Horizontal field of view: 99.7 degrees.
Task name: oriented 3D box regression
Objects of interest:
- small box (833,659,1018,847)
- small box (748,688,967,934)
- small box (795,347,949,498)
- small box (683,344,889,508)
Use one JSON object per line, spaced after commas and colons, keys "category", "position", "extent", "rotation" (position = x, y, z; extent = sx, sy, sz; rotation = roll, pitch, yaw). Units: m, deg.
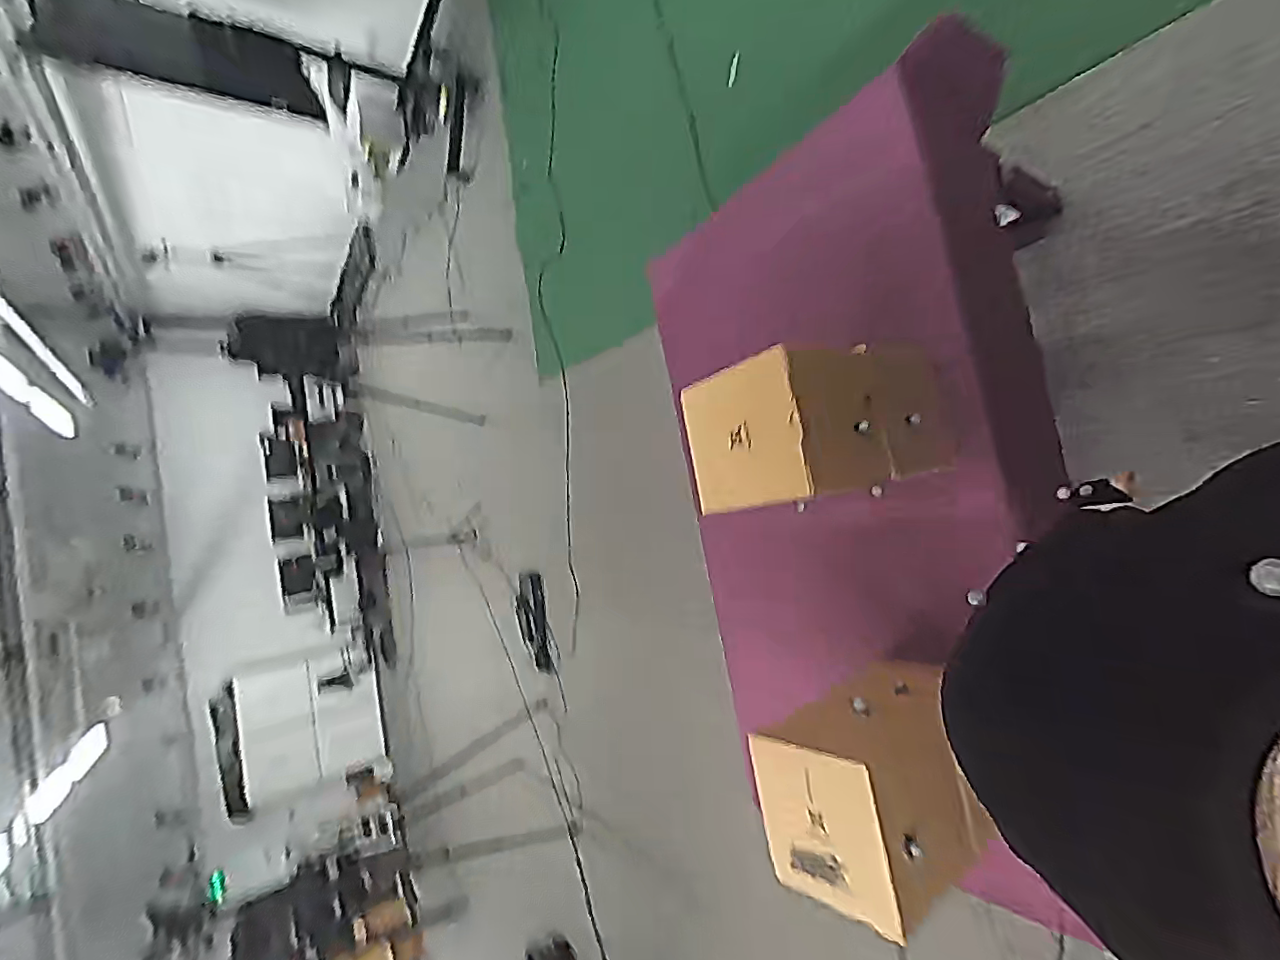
{"category": "small box", "position": [0.394, 0.358, 0.752], "extent": [0.179, 0.176, 0.168], "rotation": [-18, 81, 53]}
{"category": "small box", "position": [0.263, 0.374, 0.654], "extent": [0.168, 0.176, 0.179], "rotation": [-18, 80, 53]}
{"category": "small box", "position": [0.317, -0.081, 0.786], "extent": [0.168, 0.176, 0.179], "rotation": [-19, 81, 53]}
{"category": "small box", "position": [0.183, -0.061, 0.694], "extent": [0.179, 0.176, 0.168], "rotation": [-17, 81, 53]}
